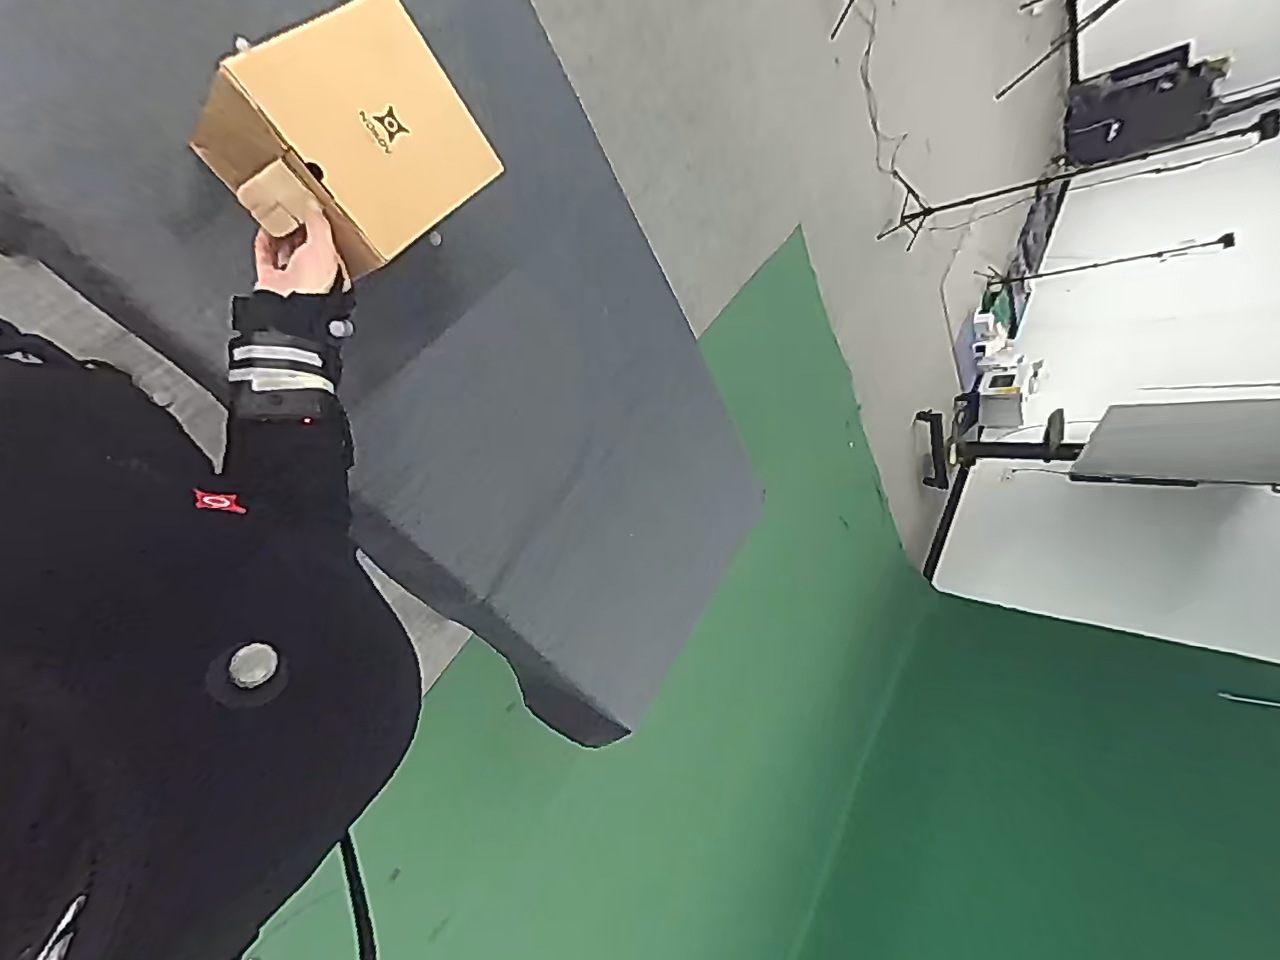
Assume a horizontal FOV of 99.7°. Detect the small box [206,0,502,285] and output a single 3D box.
[{"bbox_3d":[-0.282,-0.321,0.537,0.179,0.176,0.168,-55,130,-25],"label":"small box"}]
